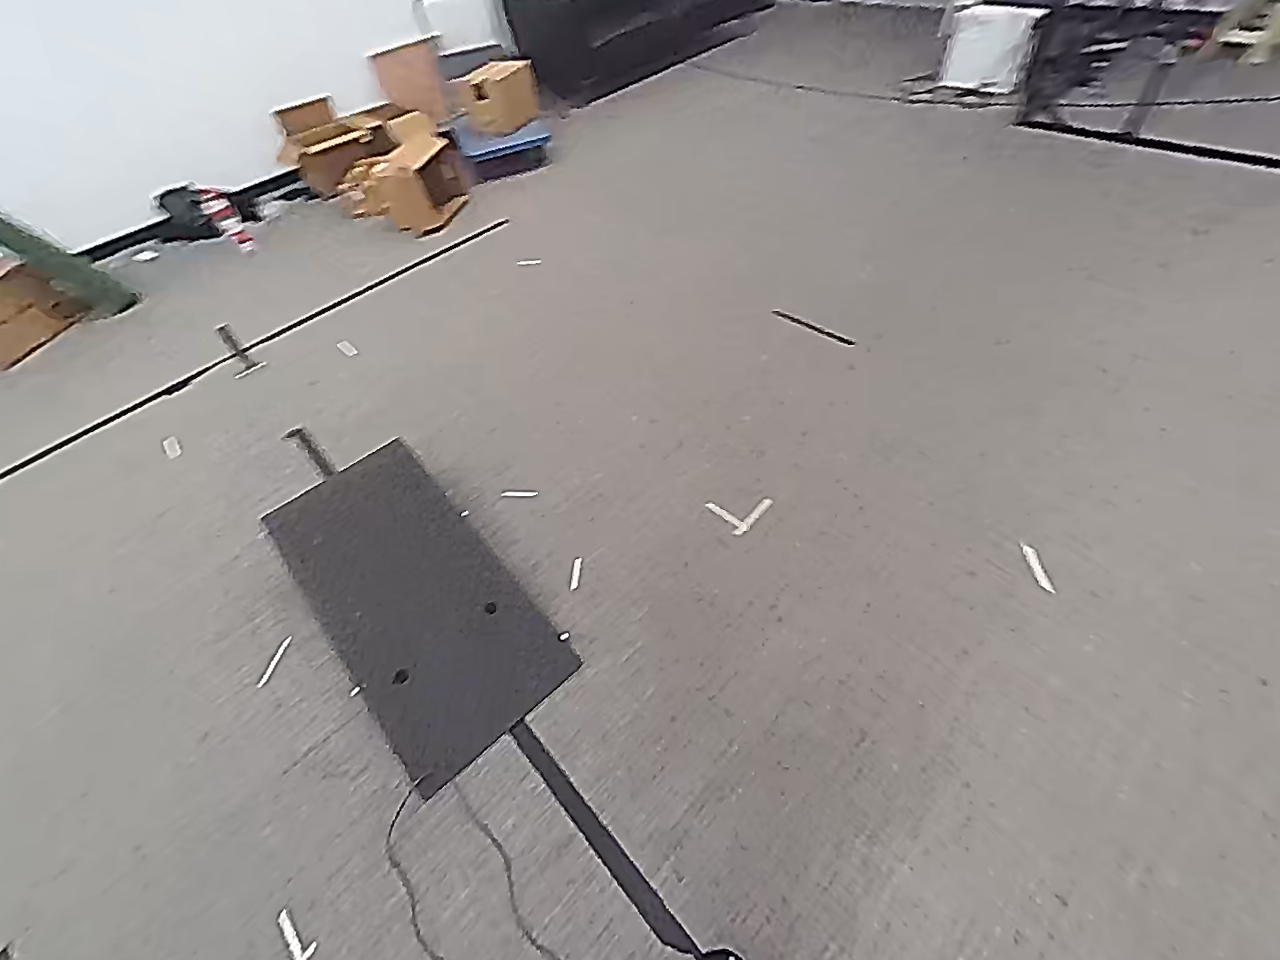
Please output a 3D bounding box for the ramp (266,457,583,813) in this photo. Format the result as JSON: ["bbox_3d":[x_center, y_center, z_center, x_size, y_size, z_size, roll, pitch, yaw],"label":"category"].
[{"bbox_3d":[-0.657,0.365,1.588,0.509,0.206,0.991,-38,55,-23],"label":"ramp"}]
